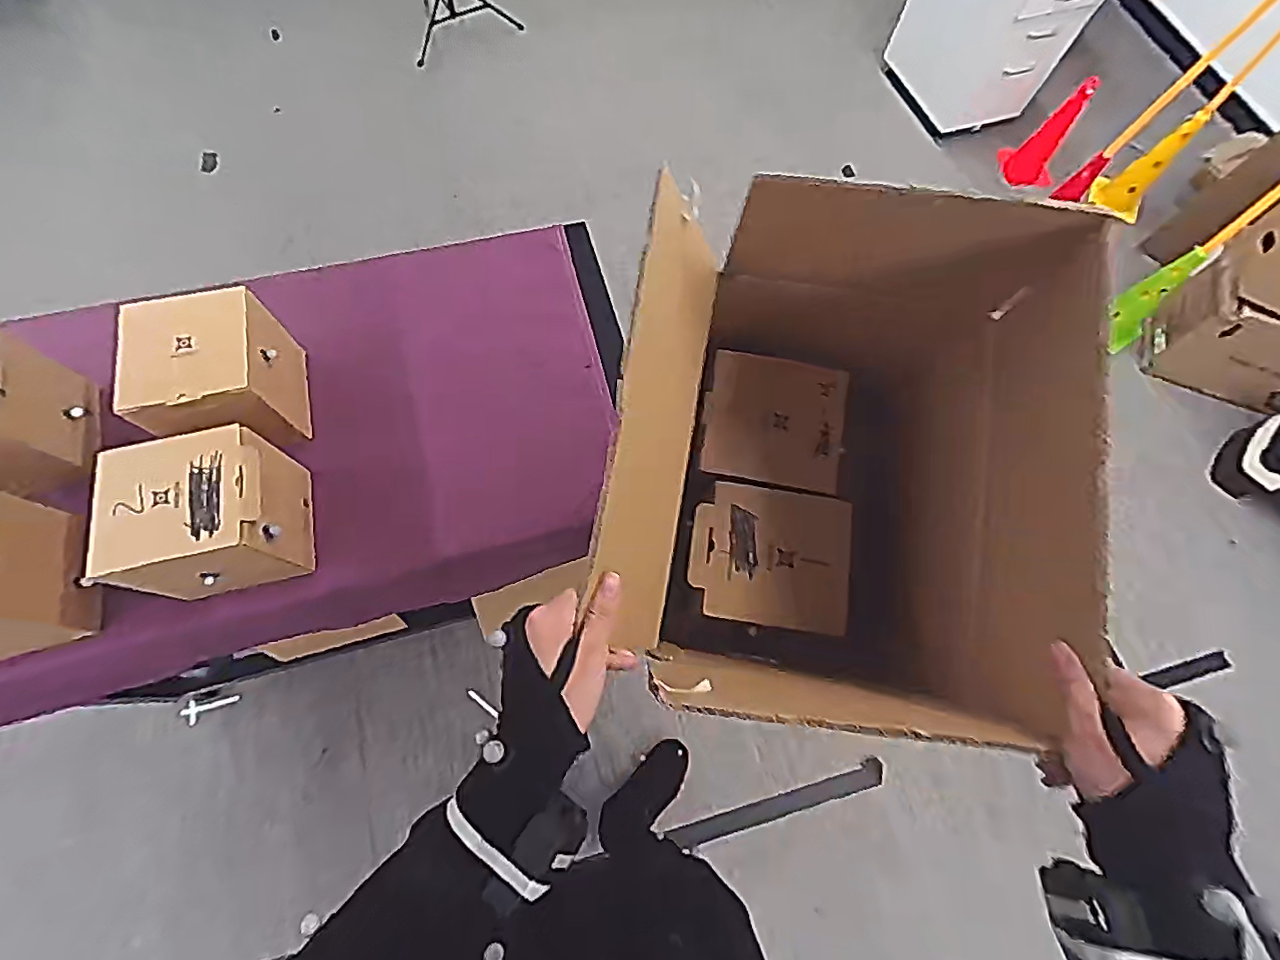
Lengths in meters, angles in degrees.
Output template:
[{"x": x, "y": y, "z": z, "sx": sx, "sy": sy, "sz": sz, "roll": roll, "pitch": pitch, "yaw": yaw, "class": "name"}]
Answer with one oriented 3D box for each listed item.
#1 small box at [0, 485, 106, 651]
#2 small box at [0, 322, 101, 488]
[{"x": -0.846, "y": 0.123, "z": 0.684, "sx": 0.179, "sy": 0.176, "sz": 0.168, "roll": -14, "pitch": 71, "yaw": -10, "class": "small box"}, {"x": -0.925, "y": -0.093, "z": 0.758, "sx": 0.179, "sy": 0.176, "sz": 0.168, "roll": -16, "pitch": 72, "yaw": -10, "class": "small box"}]
